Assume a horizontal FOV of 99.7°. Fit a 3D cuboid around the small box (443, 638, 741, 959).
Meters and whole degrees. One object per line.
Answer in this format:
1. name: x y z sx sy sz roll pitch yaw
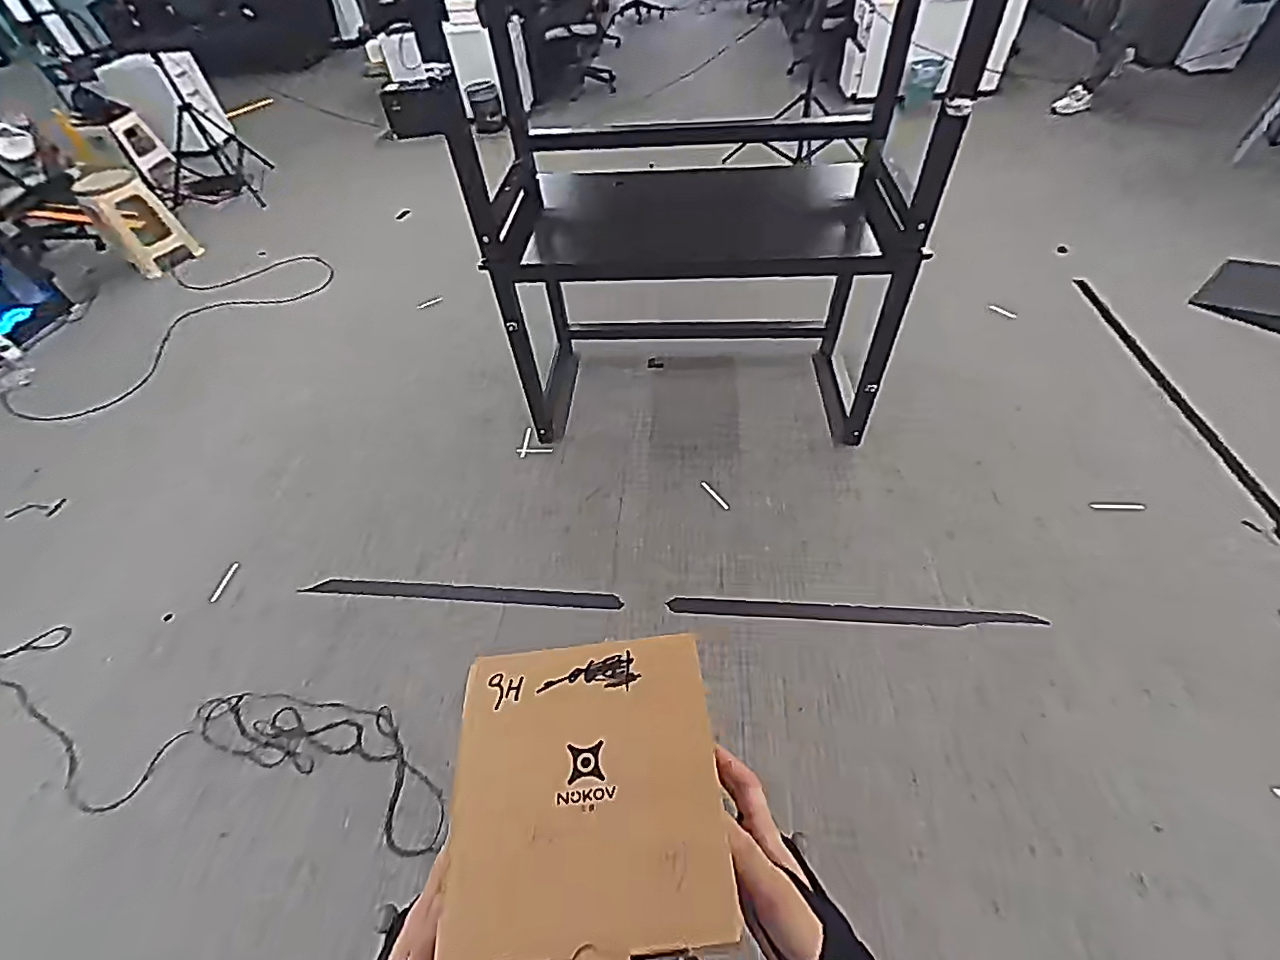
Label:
1. small box: -0.027 0.241 0.400 0.168 0.176 0.179 -7 49 -1
